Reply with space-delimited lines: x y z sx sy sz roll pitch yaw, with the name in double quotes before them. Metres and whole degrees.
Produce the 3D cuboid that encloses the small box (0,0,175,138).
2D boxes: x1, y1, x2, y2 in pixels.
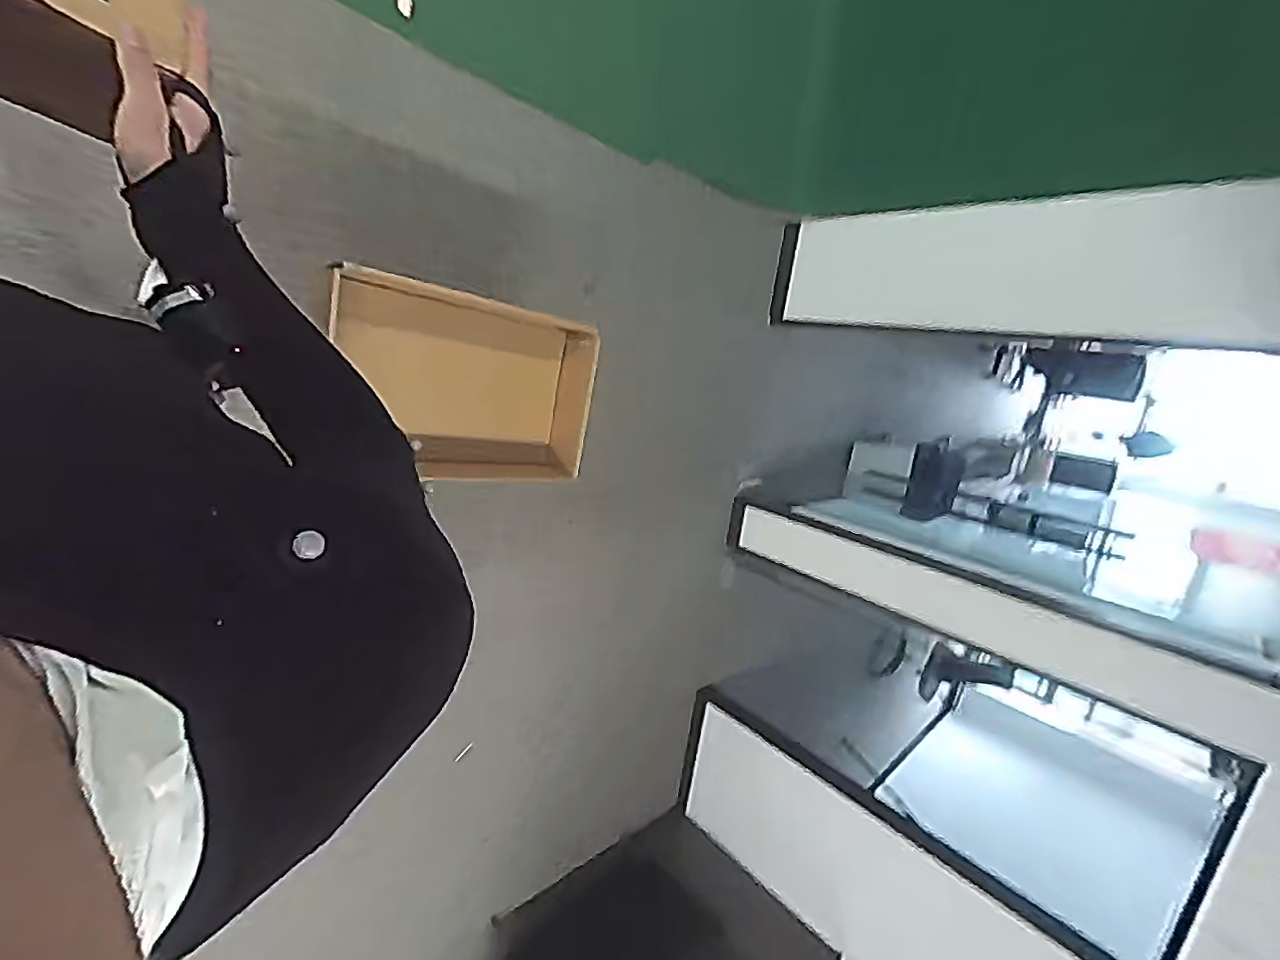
"small box" -0.475 -0.405 0.407 0.168 0.176 0.179 7 84 -54
